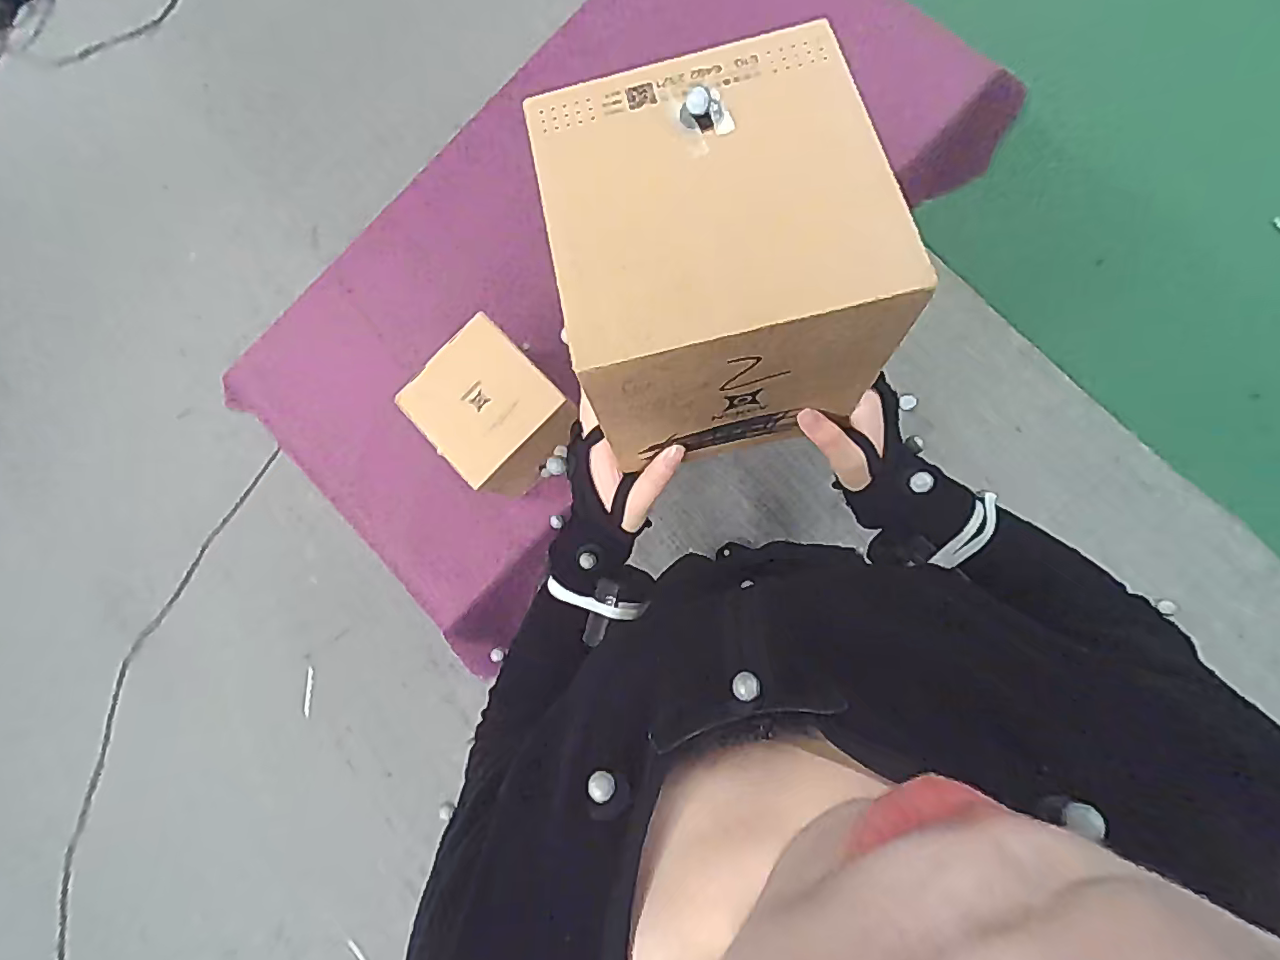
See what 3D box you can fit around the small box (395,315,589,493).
[{"bbox_3d":[-0.201,-0.096,0.780,0.168,0.176,0.179,-44,81,2],"label":"small box"}]
